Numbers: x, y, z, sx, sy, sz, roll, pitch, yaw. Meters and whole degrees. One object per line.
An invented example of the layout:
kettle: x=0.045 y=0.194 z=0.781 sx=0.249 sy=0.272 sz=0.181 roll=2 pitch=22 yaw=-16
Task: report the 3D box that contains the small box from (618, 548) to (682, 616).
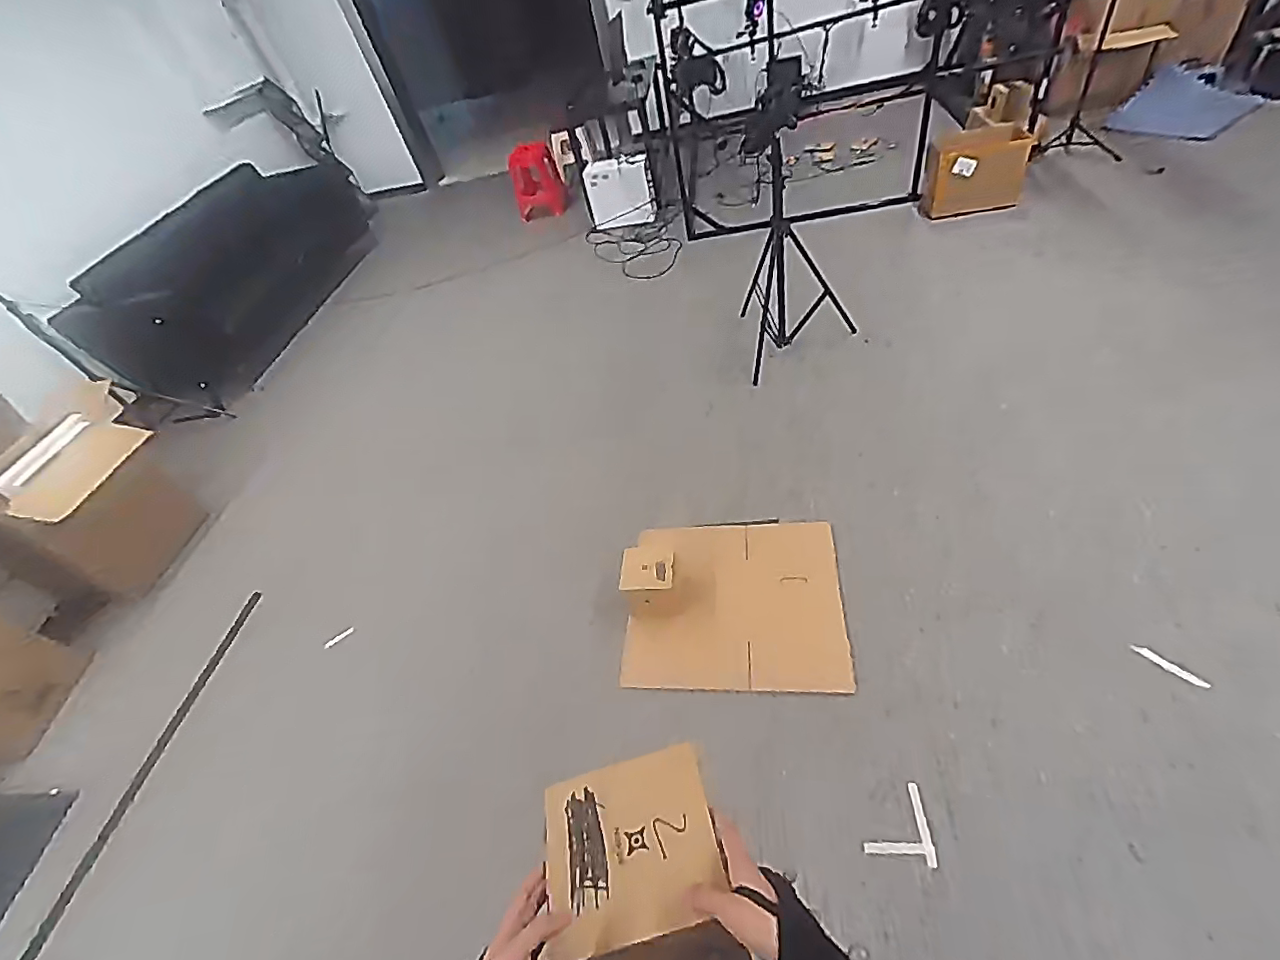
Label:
small box: x=0.040 y=0.342 z=1.811 sx=0.179 sy=0.176 sz=0.168 roll=-4 pitch=47 yaw=14
